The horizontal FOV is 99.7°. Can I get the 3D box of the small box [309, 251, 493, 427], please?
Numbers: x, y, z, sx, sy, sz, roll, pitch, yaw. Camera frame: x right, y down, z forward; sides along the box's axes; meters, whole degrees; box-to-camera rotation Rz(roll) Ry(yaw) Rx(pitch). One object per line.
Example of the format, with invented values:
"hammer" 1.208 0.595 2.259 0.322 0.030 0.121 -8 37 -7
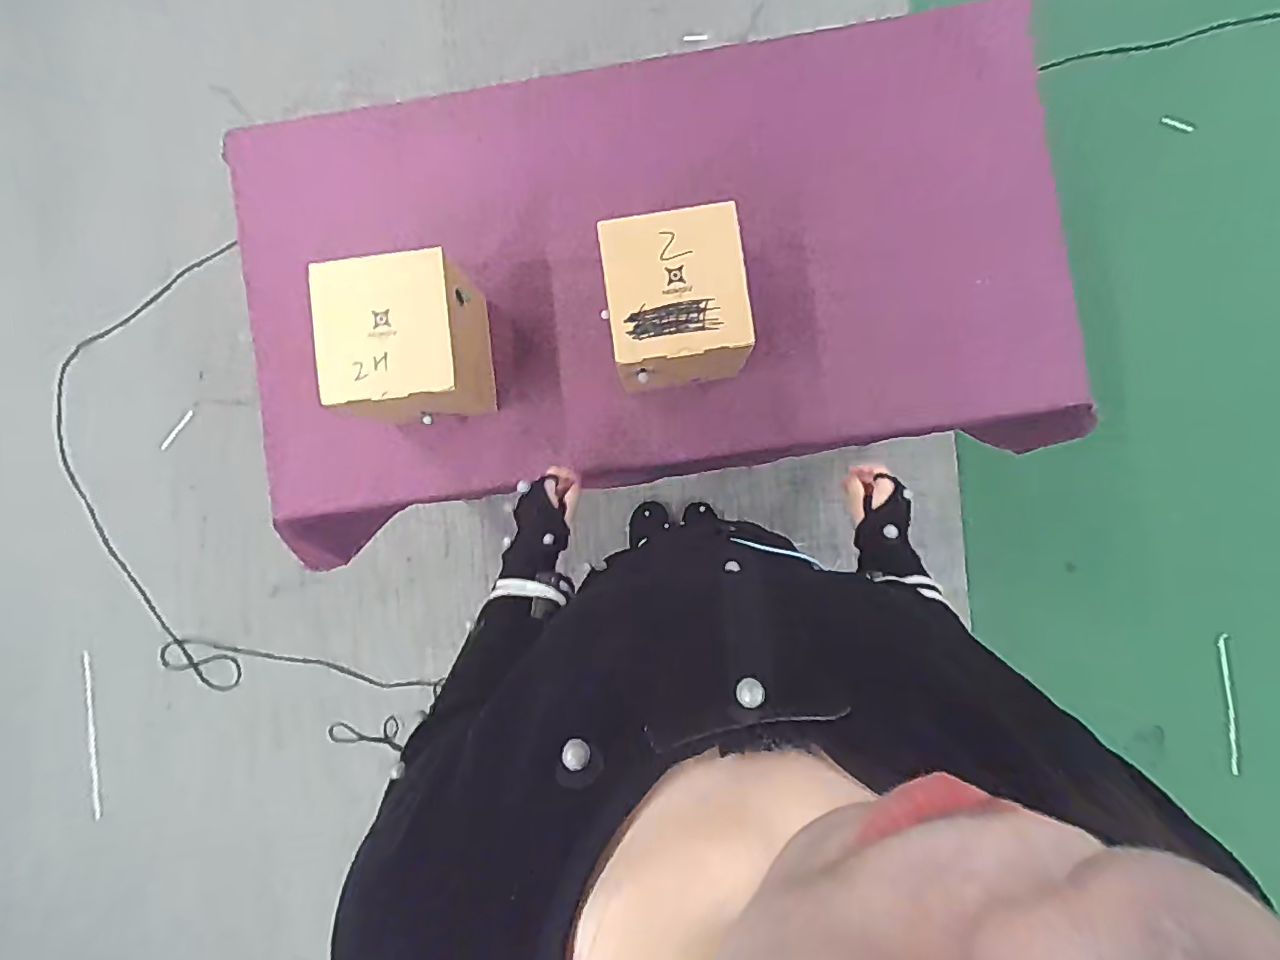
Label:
"small box" -0.306 -0.176 0.722 0.168 0.176 0.179 -7 88 2
